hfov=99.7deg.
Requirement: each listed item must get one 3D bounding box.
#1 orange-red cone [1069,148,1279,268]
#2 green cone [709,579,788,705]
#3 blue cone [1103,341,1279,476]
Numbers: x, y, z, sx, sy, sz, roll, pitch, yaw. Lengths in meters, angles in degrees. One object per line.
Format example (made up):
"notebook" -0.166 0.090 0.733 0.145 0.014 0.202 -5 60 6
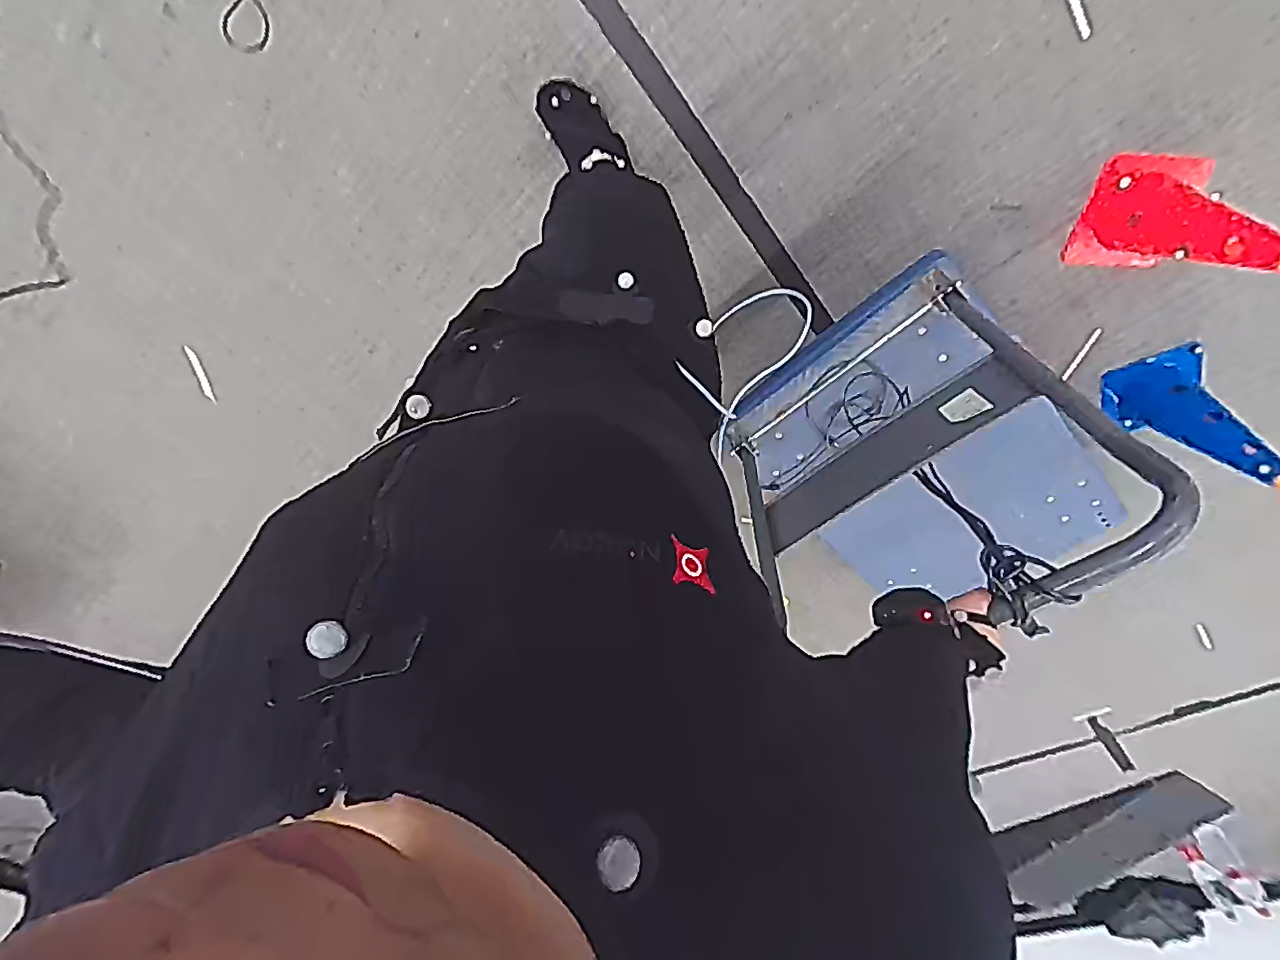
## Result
"orange-red cone" 0.971 -0.428 0.926 0.198 0.360 0.199 6 128 1
"green cone" 0.347 0.517 1.659 0.202 0.368 0.200 32 122 -16
"blue cone" 1.201 -0.122 1.150 0.193 0.380 0.192 -20 121 18
